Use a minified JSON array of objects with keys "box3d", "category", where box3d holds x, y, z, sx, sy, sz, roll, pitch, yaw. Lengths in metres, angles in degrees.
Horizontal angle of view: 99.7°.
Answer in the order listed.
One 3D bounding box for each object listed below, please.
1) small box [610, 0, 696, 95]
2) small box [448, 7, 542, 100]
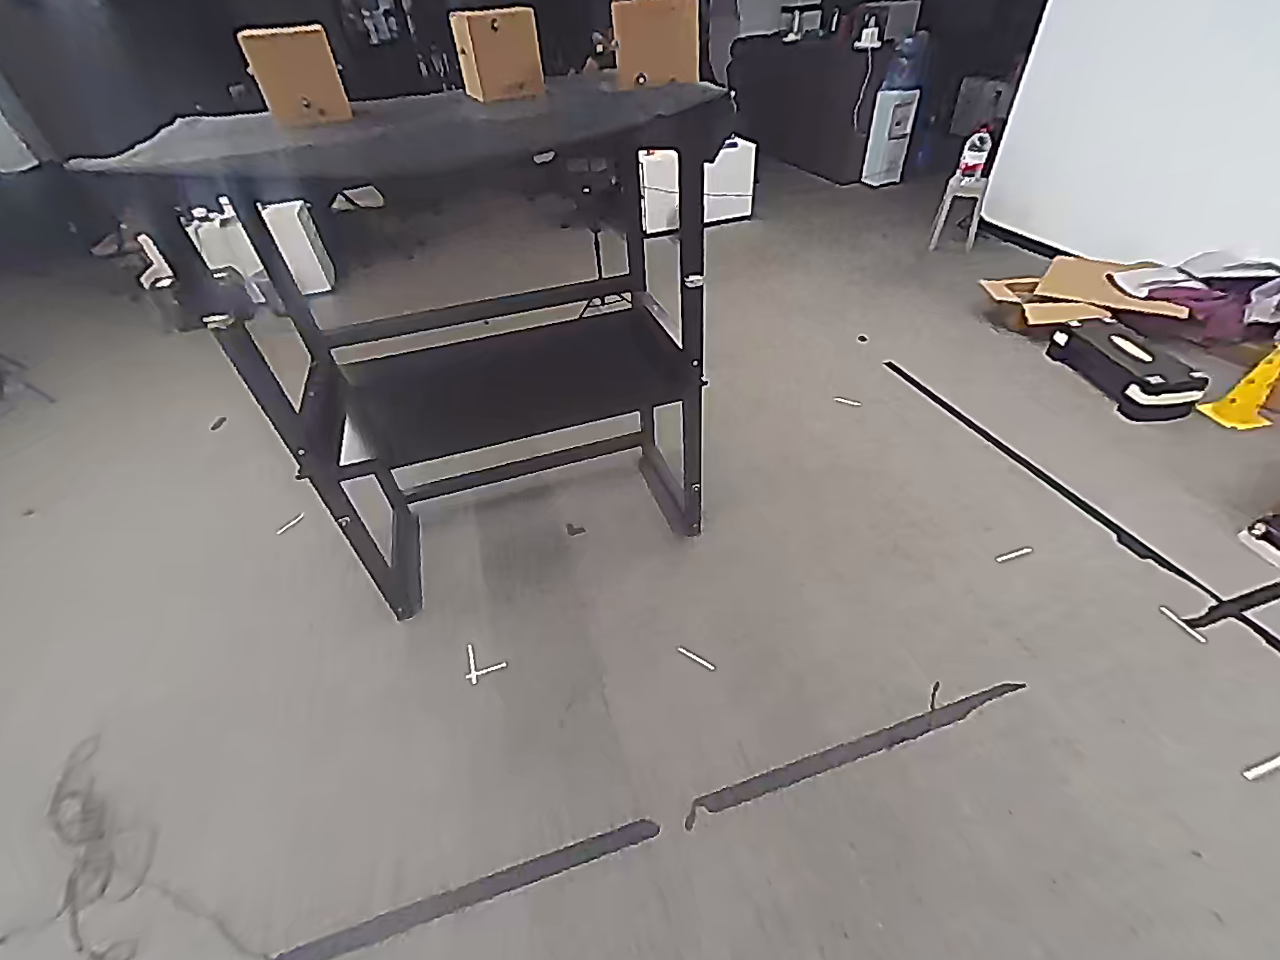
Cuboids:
[{"box3d":[0.030,-0.984,1.222,0.168,0.176,0.179,-9,41,-4],"category":"small box"},{"box3d":[-0.362,-1.071,1.360,0.168,0.176,0.179,-22,45,-17],"category":"small box"}]
